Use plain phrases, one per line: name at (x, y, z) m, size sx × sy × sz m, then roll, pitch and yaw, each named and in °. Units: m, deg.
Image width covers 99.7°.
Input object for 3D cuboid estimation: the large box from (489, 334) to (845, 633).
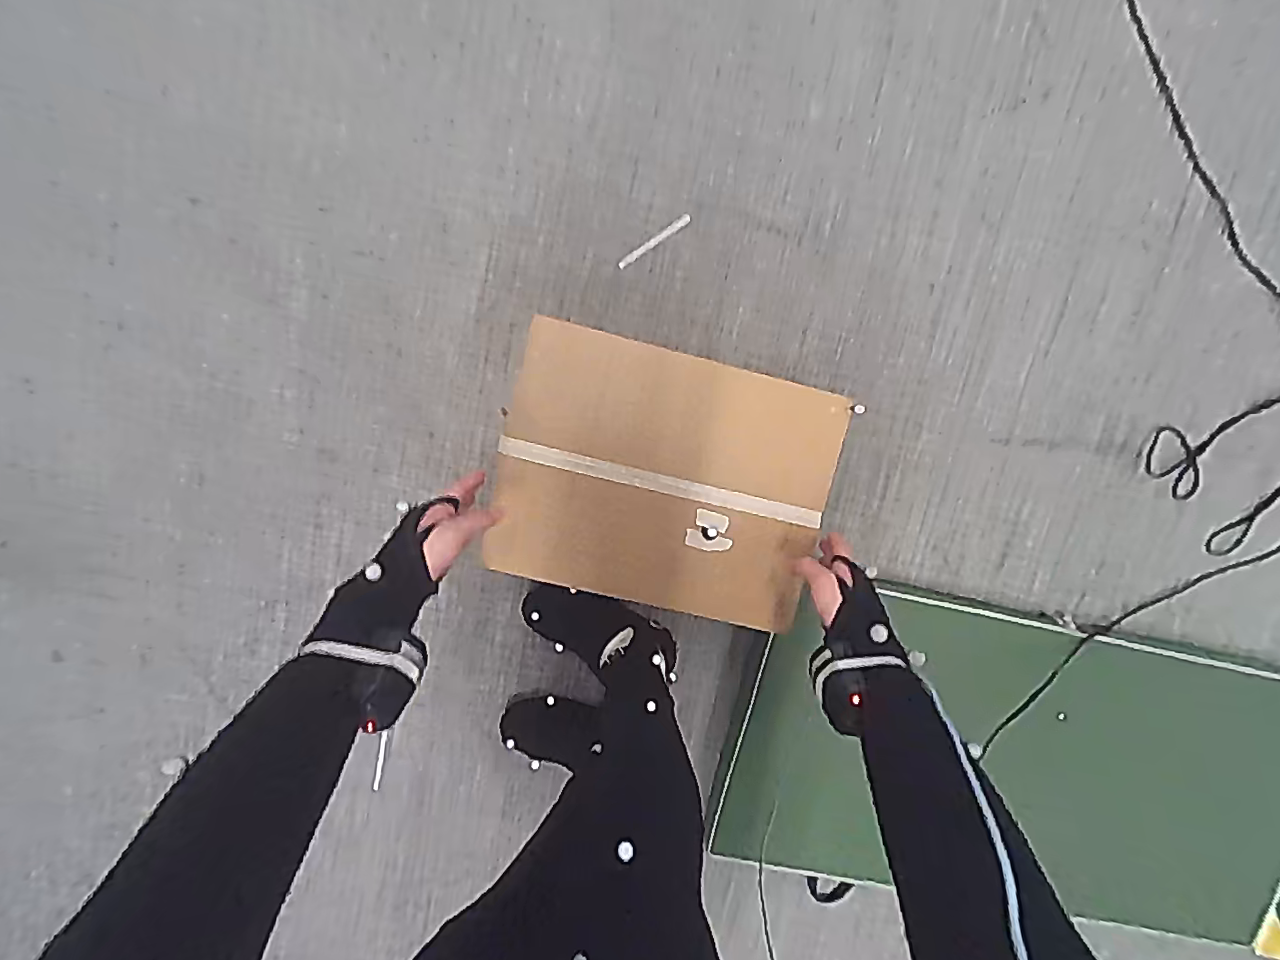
large box at (0.022, 0.000, 0.826) m, size 0.408 × 0.320 × 0.320 m, roll 14°, pitch 95°, yaw -6°
